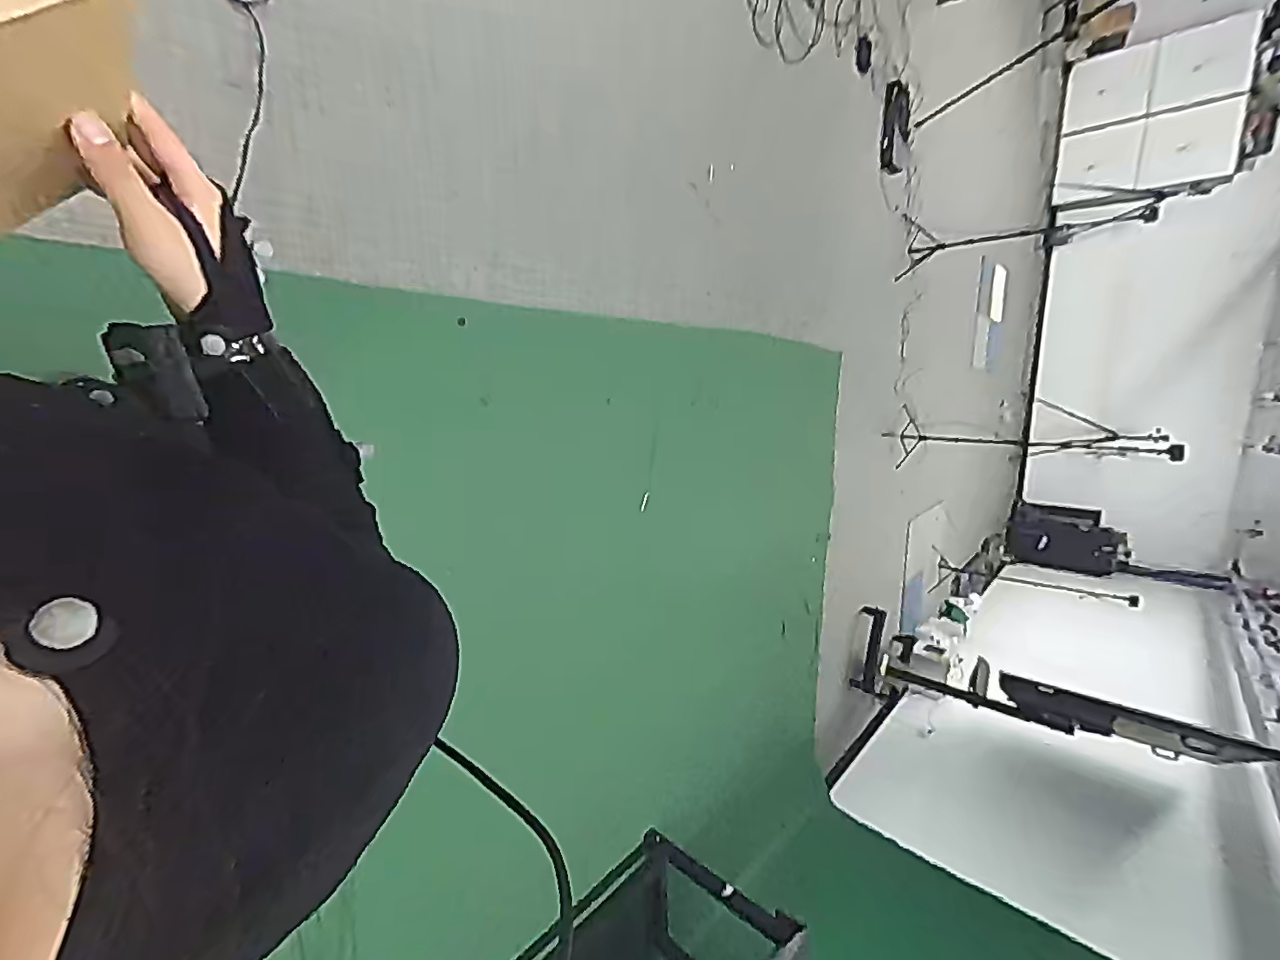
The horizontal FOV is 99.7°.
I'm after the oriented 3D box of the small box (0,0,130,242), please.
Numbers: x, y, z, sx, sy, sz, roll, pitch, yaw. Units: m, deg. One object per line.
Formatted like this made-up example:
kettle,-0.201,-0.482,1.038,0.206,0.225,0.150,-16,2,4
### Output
small box,-0.356,-0.191,0.213,0.168,0.176,0.179,47,56,-32
